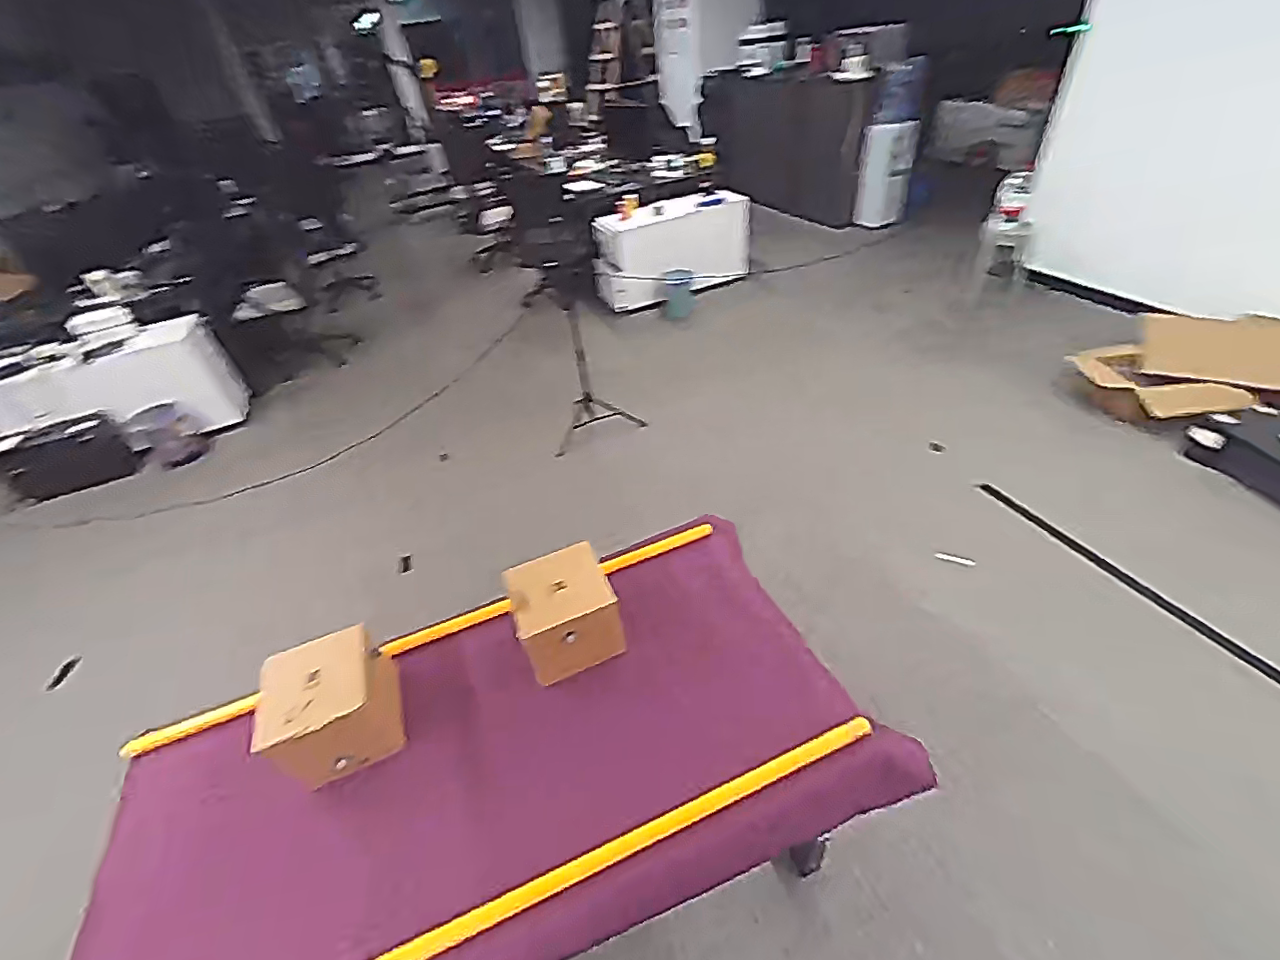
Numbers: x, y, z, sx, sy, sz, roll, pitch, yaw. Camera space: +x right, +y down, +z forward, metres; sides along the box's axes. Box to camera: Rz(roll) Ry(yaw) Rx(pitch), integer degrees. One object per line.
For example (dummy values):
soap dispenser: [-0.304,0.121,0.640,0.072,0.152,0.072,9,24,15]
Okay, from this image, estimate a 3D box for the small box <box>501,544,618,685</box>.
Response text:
small box: [-0.150,0.260,1.049,0.179,0.176,0.168,-20,43,-13]

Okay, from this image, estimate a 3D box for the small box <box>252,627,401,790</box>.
small box: [-0.537,0.399,0.949,0.168,0.176,0.179,-20,43,-13]
